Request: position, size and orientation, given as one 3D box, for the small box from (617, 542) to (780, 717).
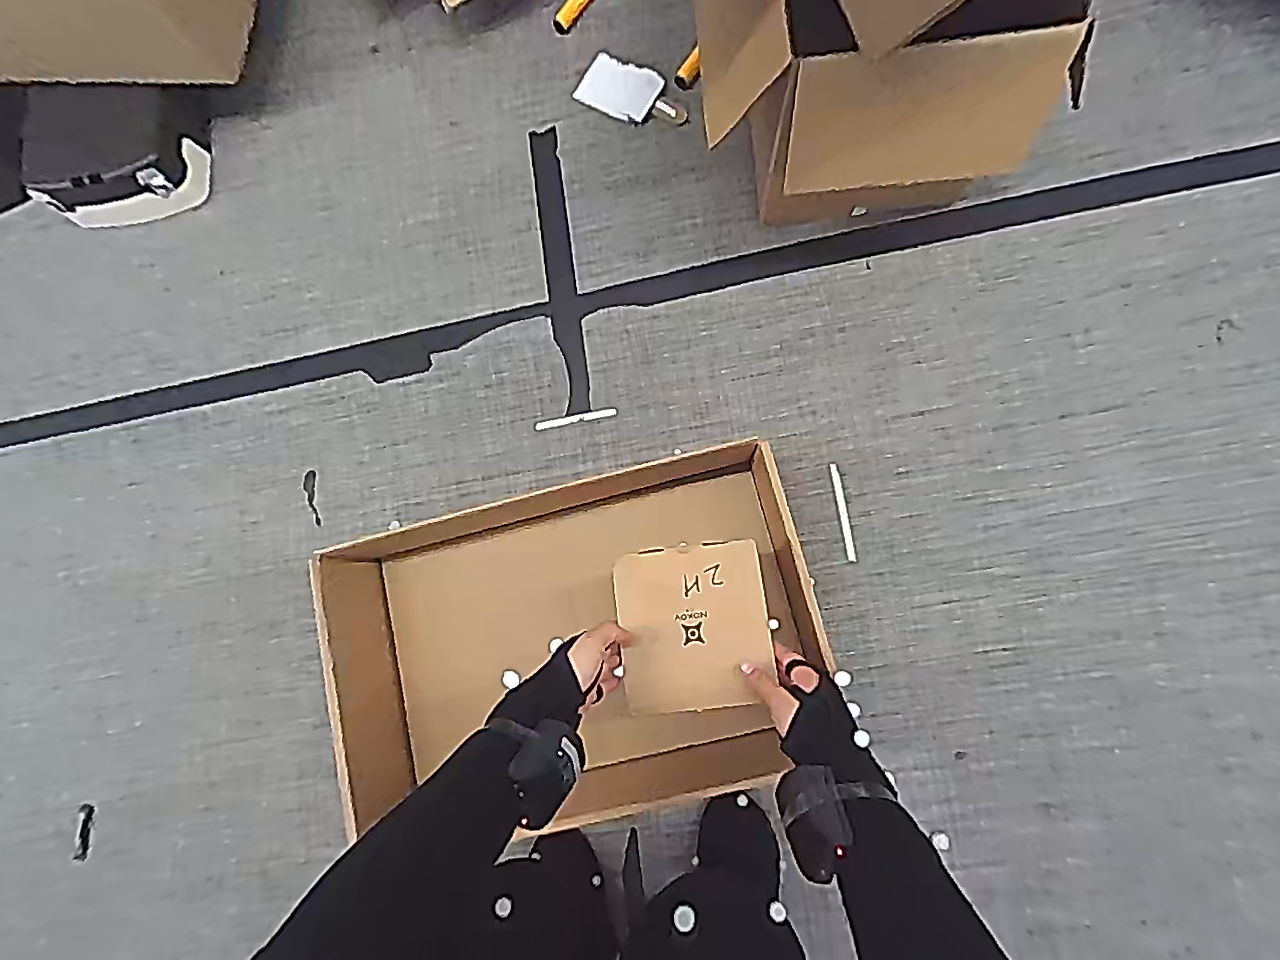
[{"bbox_3d":[0.068,0.179,0.664,0.168,0.176,0.179,-6,75,3],"label":"small box"}]
